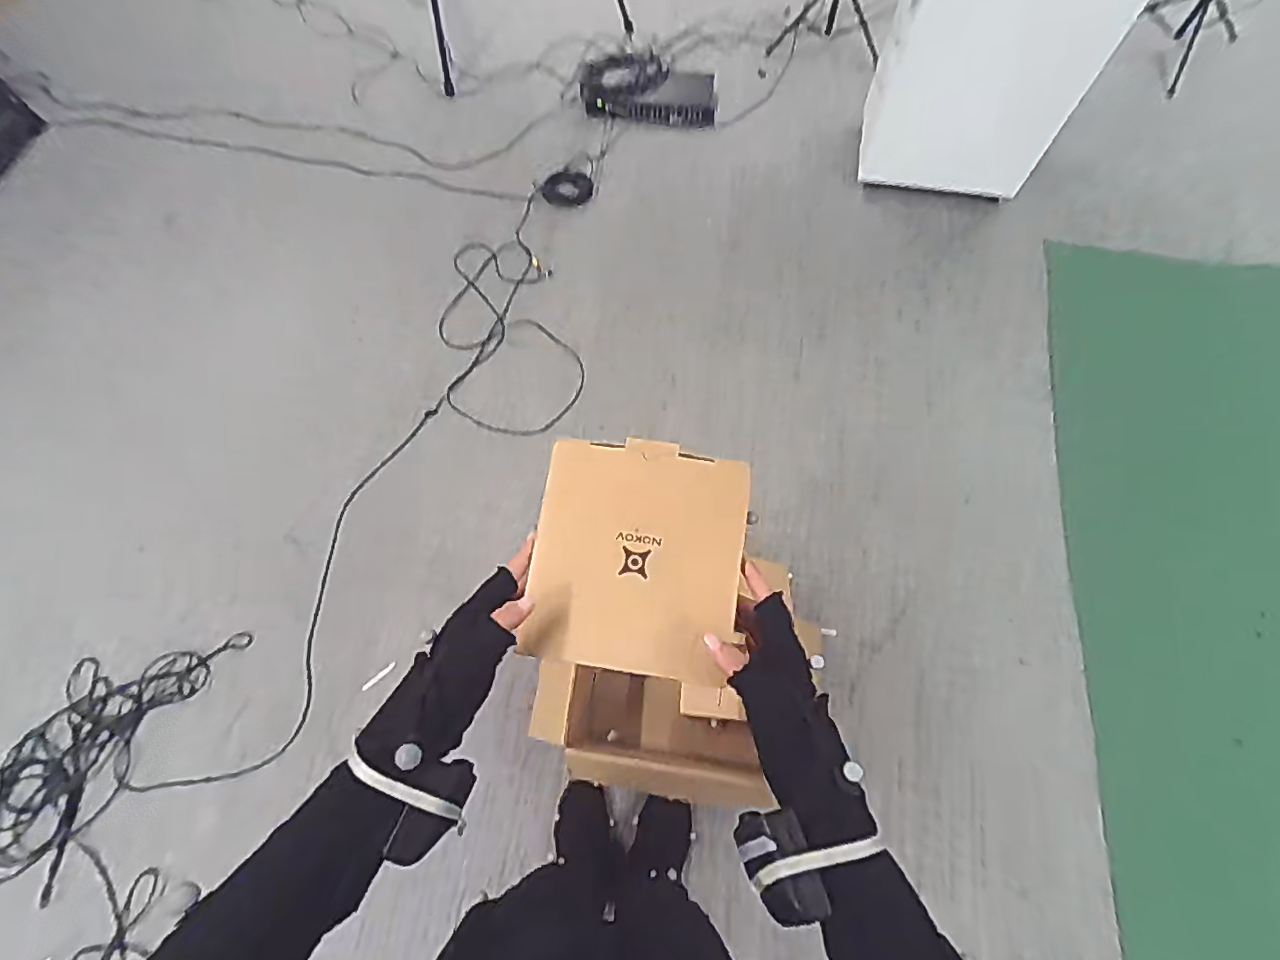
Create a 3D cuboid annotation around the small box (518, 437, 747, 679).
[{"bbox_3d":[-0.001,0.073,0.509,0.168,0.176,0.179,7,79,3],"label":"small box"}]
